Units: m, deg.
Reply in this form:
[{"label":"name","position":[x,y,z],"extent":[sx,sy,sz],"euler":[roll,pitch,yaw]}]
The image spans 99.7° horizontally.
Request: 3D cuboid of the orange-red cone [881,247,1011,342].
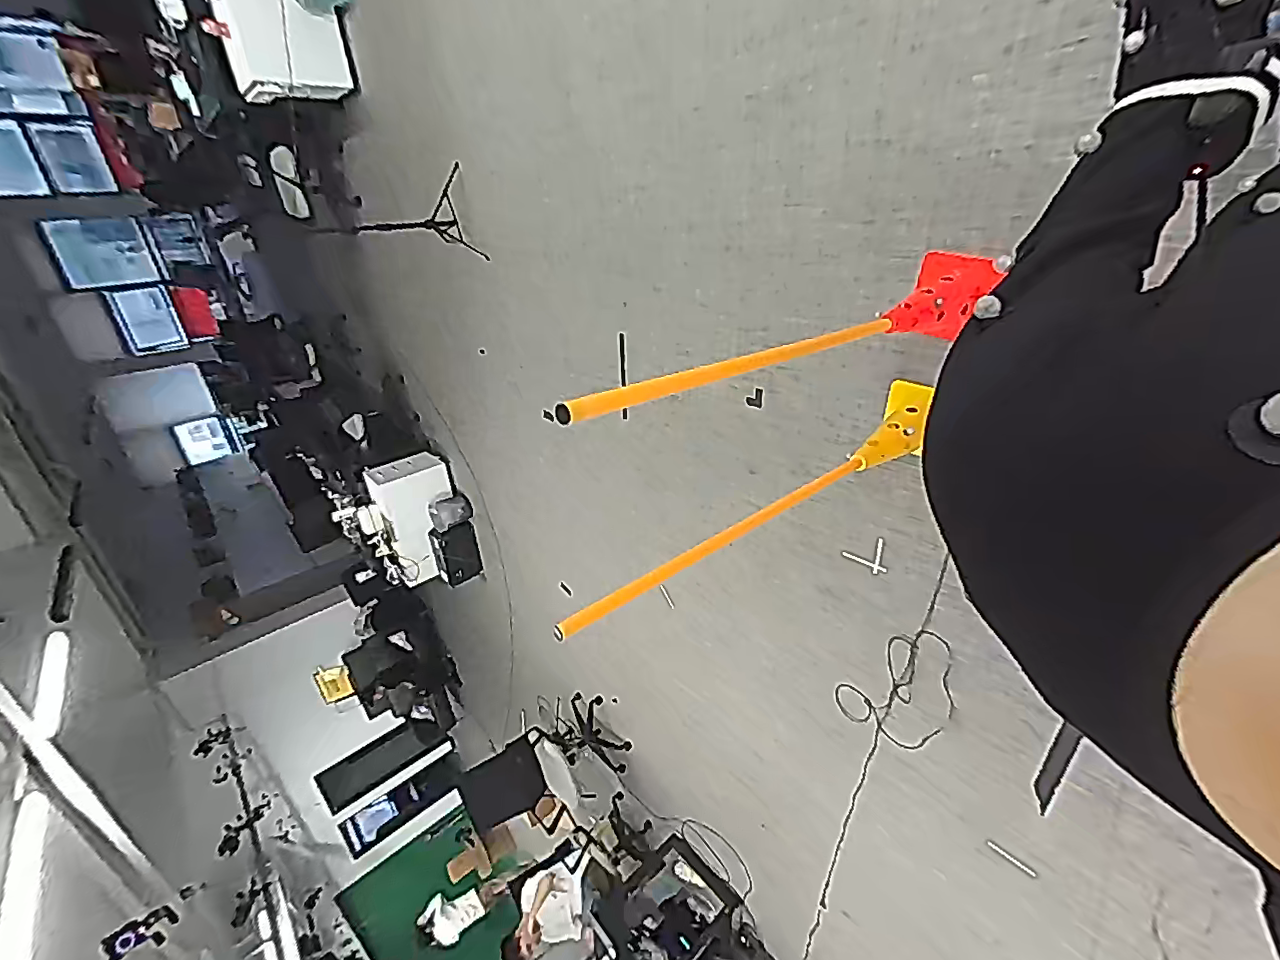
[{"label":"orange-red cone","position":[0.646,-0.397,1.223],"extent":[0.198,0.360,0.199],"euler":[32,132,37]}]
